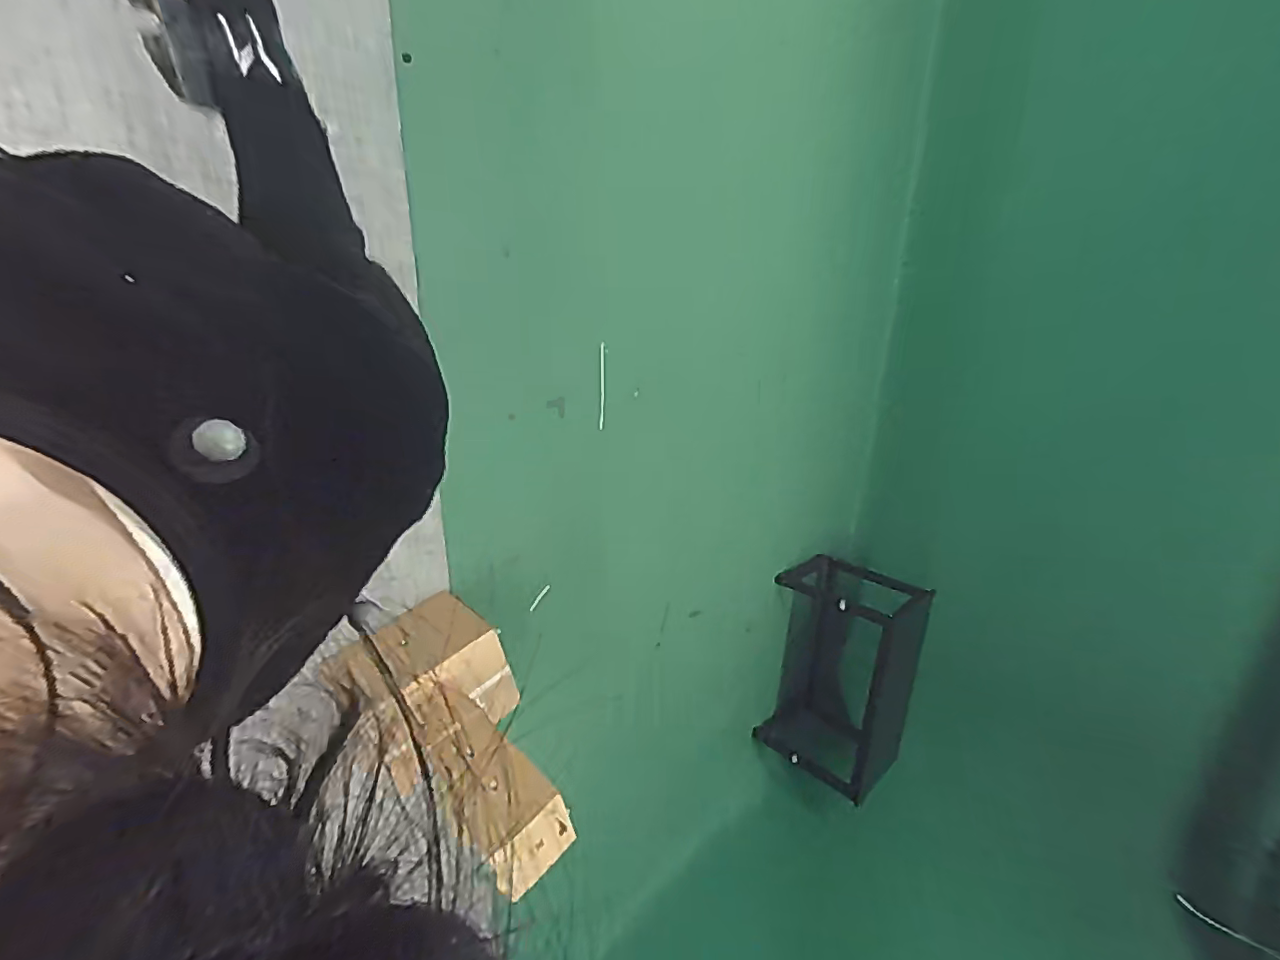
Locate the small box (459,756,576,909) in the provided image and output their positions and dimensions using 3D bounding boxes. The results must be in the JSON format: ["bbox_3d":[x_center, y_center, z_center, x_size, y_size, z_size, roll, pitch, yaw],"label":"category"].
[{"bbox_3d":[-0.268,0.746,1.162,0.179,0.176,0.168,-30,123,-34],"label":"small box"}]

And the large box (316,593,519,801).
[{"bbox_3d":[-0.636,0.605,1.578,0.408,0.320,0.320,-32,126,-36],"label":"large box"}]

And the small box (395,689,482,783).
[{"bbox_3d":[-0.497,0.667,1.383,0.168,0.176,0.179,-30,123,-35],"label":"small box"}]

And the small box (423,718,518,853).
[{"bbox_3d":[-0.385,0.708,1.271,0.179,0.176,0.168,-32,124,-35],"label":"small box"}]
